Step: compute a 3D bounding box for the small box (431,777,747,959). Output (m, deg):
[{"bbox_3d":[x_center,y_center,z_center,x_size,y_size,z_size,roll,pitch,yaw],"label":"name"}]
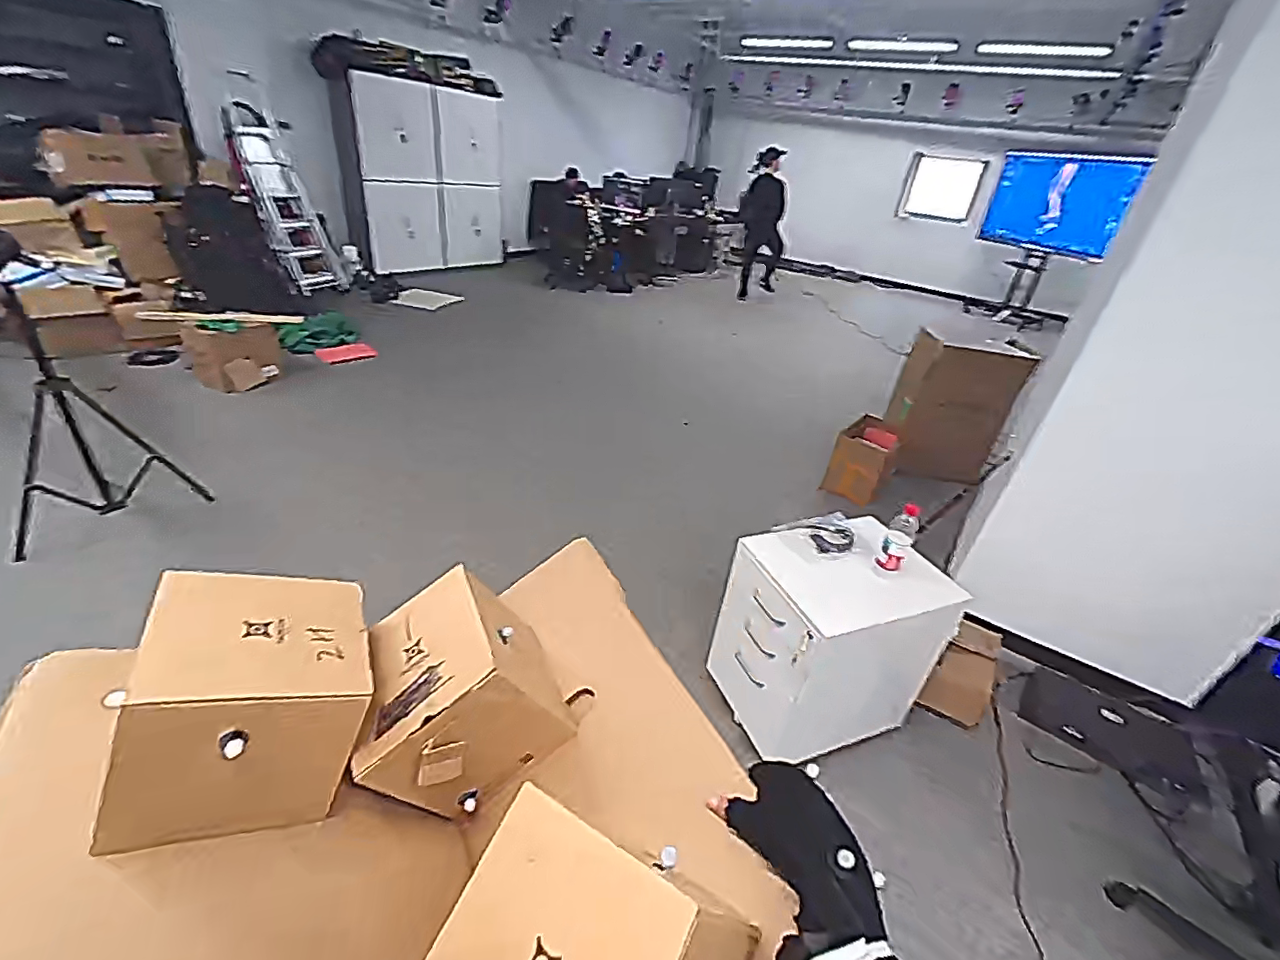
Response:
[{"bbox_3d":[-0.032,0.370,0.414,0.168,0.176,0.179,10,58,35],"label":"small box"}]
